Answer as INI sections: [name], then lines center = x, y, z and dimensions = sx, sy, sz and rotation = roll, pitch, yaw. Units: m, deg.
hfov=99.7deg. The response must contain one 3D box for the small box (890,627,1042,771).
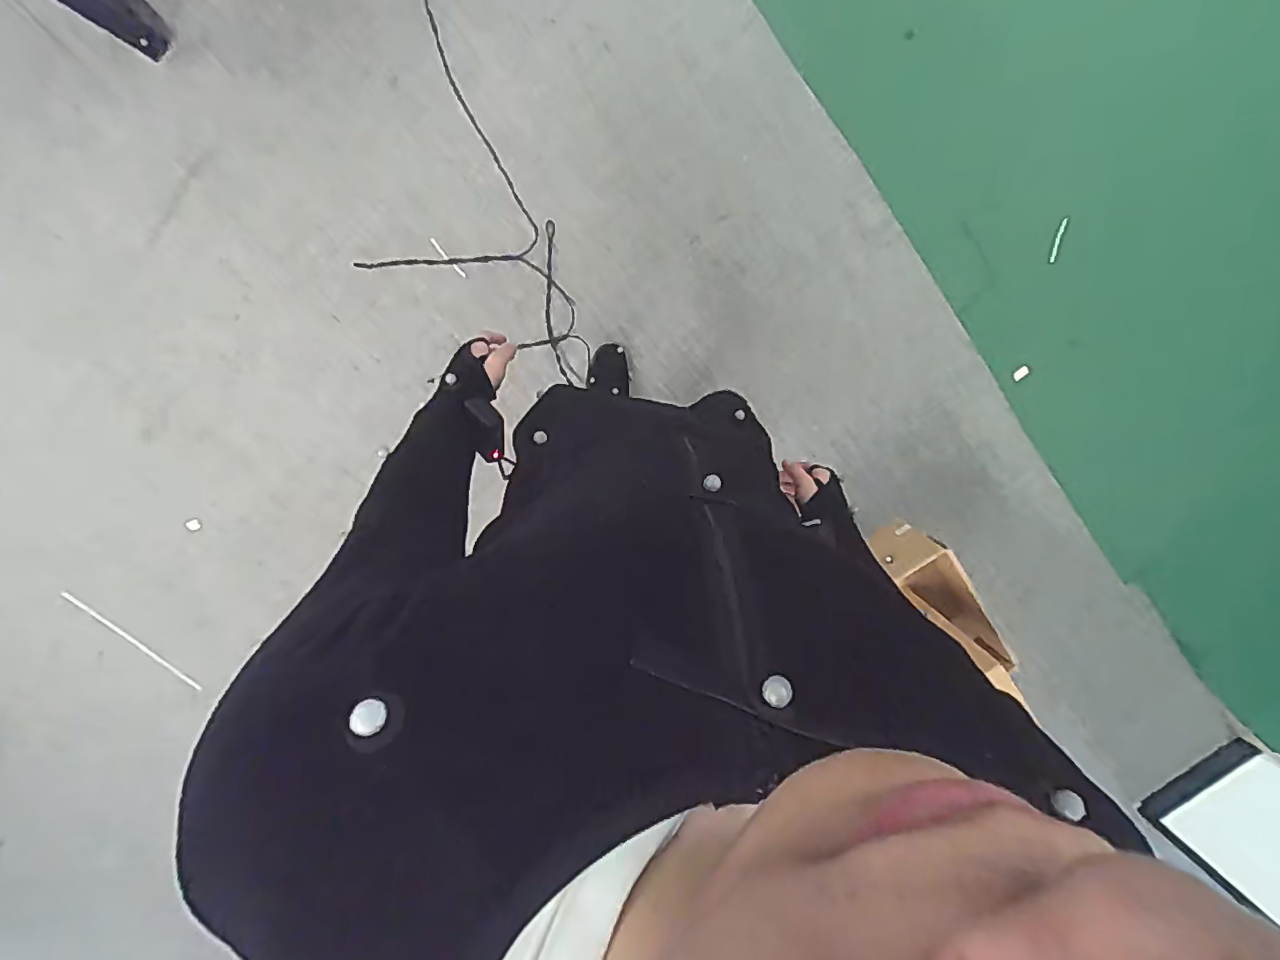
[small box]
center = 0.655, 0.439, 1.105
dimensions = 0.168, 0.176, 0.179
rotation = -36, 105, 6
